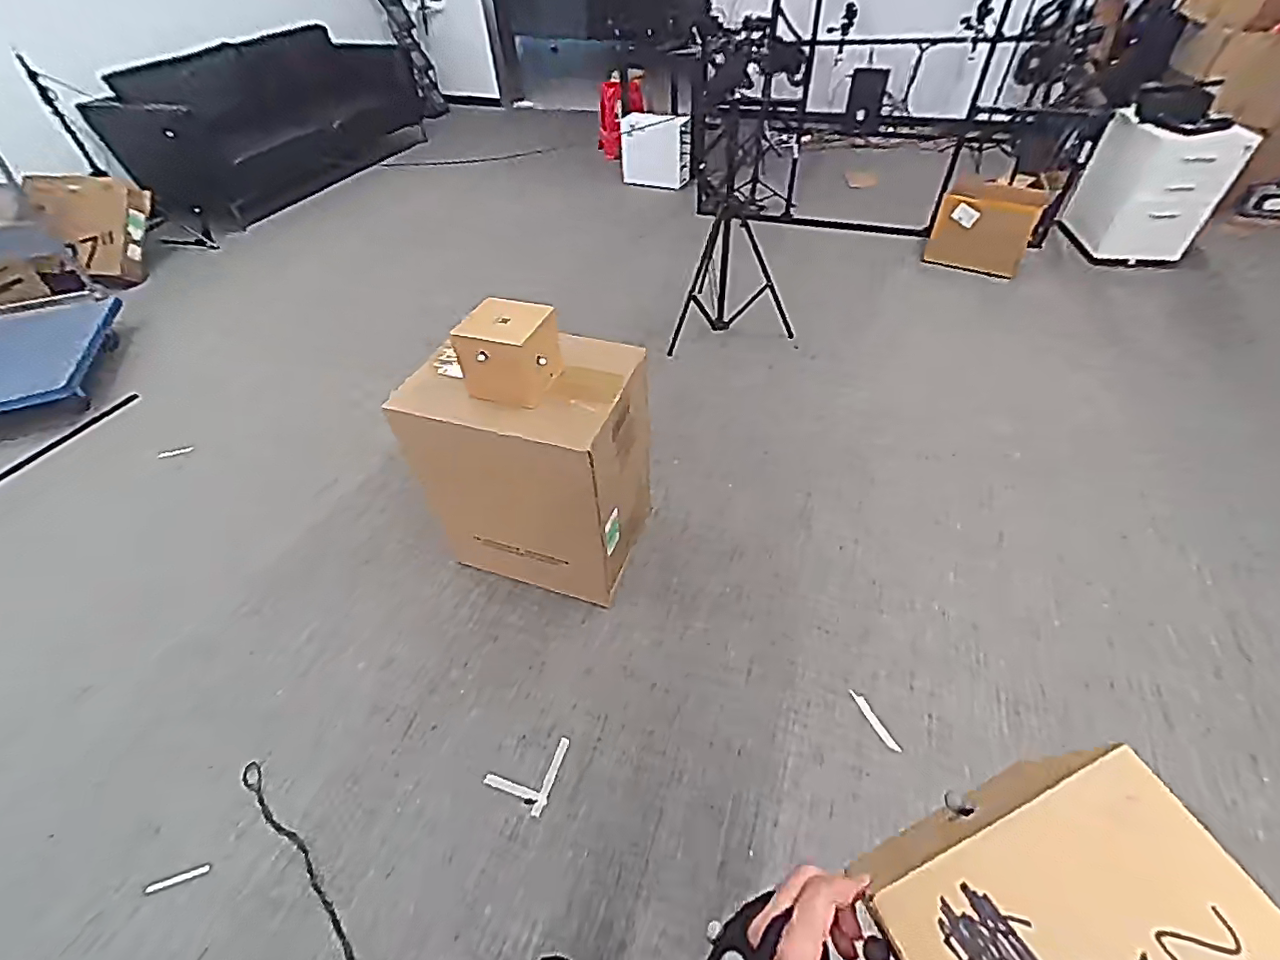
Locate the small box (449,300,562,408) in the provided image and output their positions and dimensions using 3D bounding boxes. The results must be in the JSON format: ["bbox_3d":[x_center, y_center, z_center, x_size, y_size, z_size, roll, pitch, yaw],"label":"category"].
[{"bbox_3d":[-0.295,-0.283,1.231,0.179,0.176,0.168,12,48,15],"label":"small box"}]
